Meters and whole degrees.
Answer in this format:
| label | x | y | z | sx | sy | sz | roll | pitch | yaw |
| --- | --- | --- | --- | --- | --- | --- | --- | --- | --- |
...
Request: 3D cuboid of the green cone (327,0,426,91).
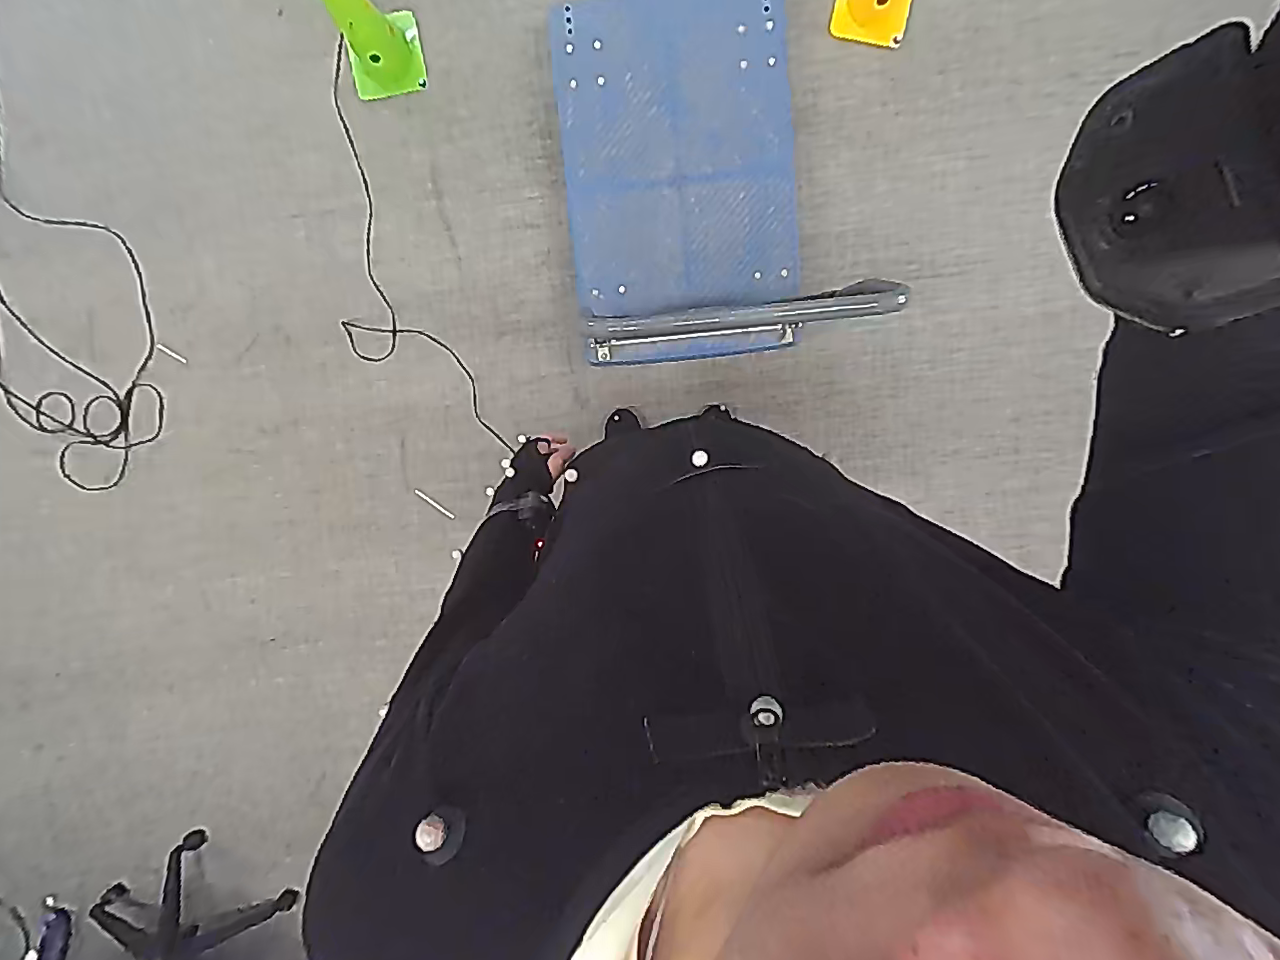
| label | x | y | z | sx | sy | sz | roll | pitch | yaw |
| --- | --- | --- | --- | --- | --- | --- | --- | --- | --- |
| green cone | -0.700 | -1.153 | 1.295 | 0.202 | 0.368 | 0.200 | -10 | 98 | 4 |
